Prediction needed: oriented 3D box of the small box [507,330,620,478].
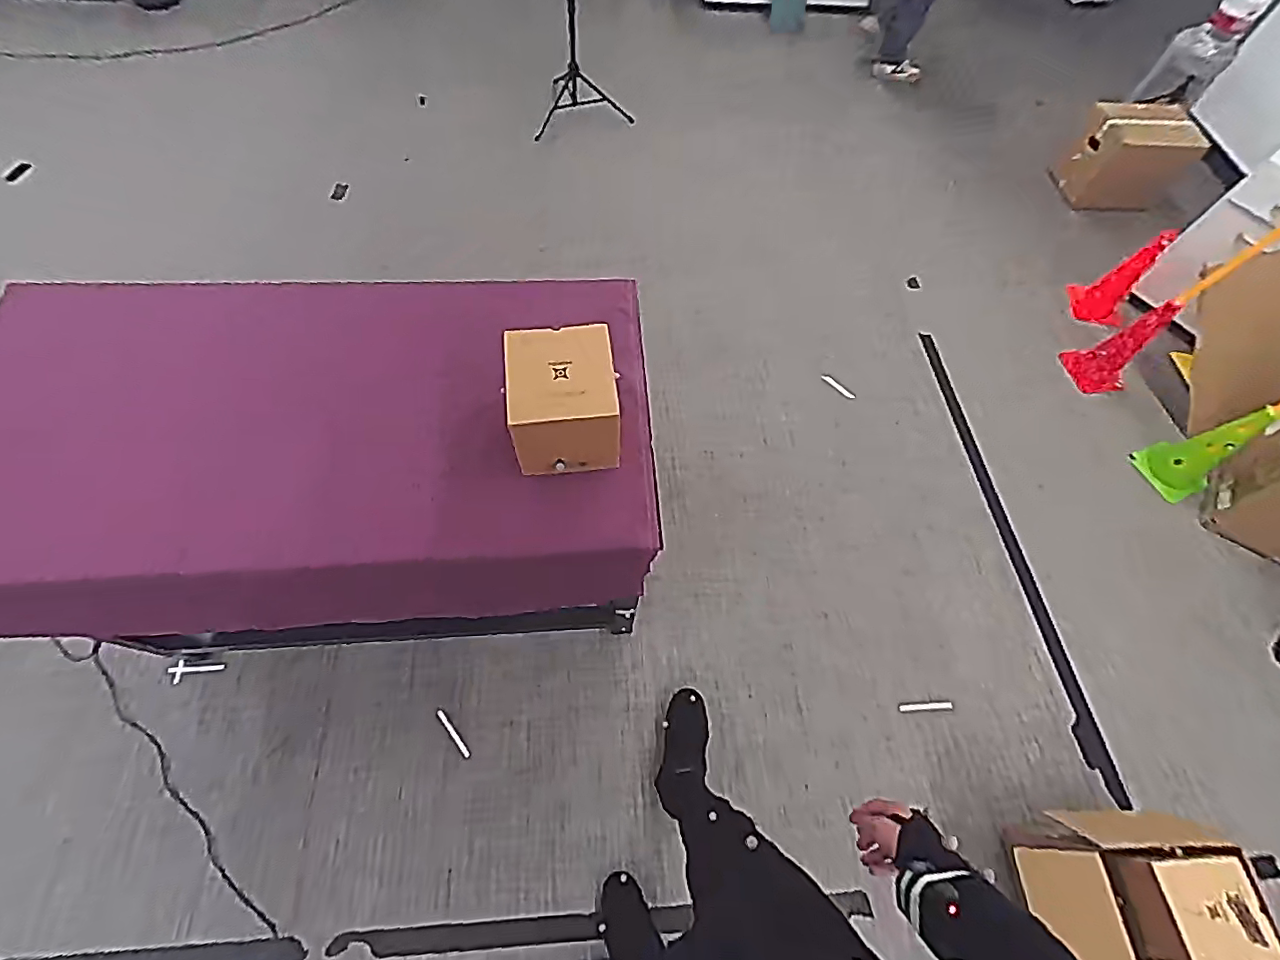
[{"bbox_3d":[-0.125,-0.122,0.896,0.168,0.176,0.179,-6,63,-6],"label":"small box"}]
